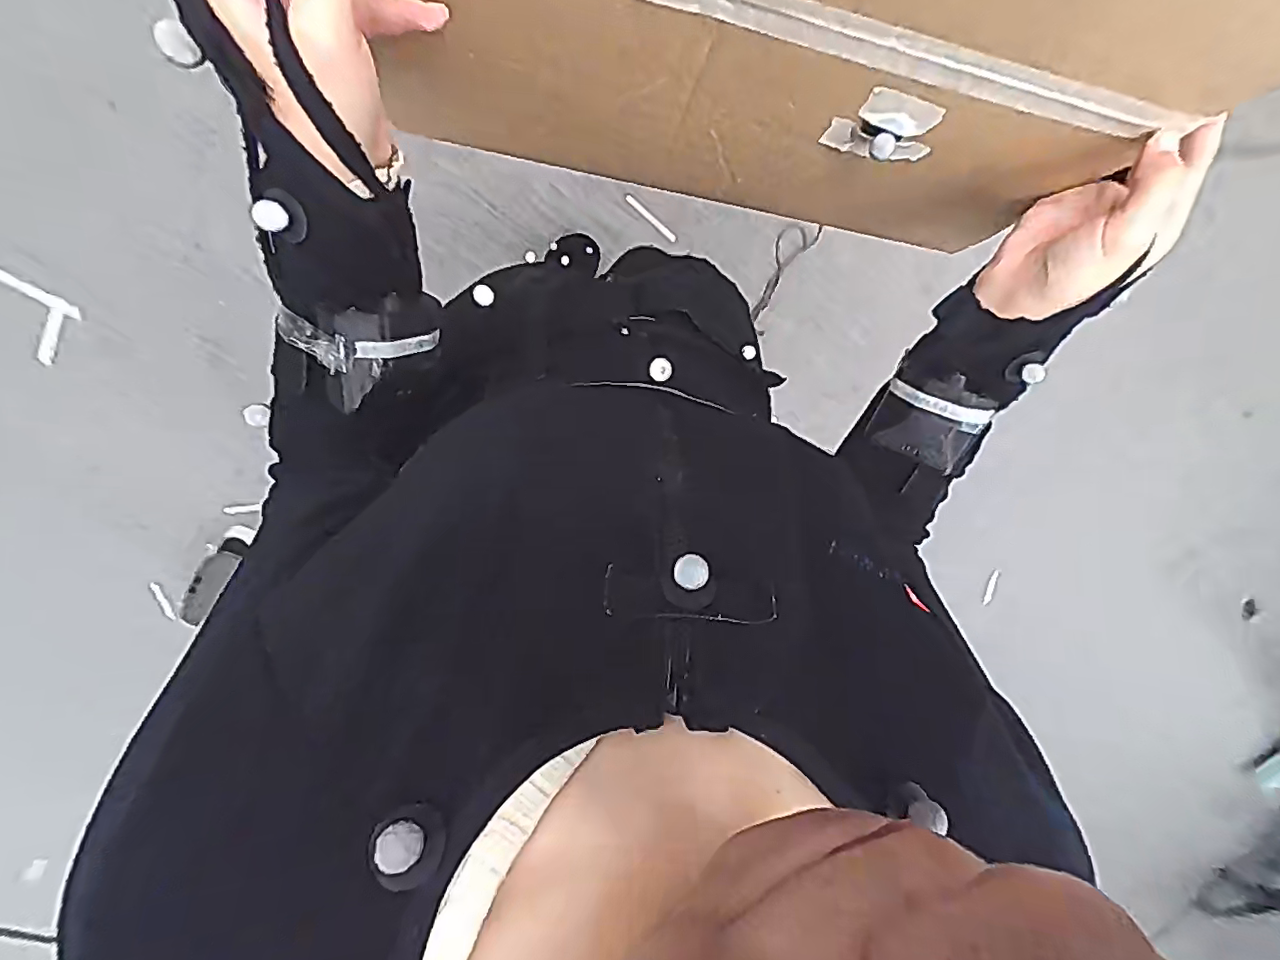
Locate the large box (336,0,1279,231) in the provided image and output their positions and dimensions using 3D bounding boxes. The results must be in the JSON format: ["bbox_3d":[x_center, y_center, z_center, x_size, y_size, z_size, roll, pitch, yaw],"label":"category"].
[{"bbox_3d":[0.076,-0.351,0.228,0.408,0.320,0.320,5,92,-10],"label":"large box"}]
